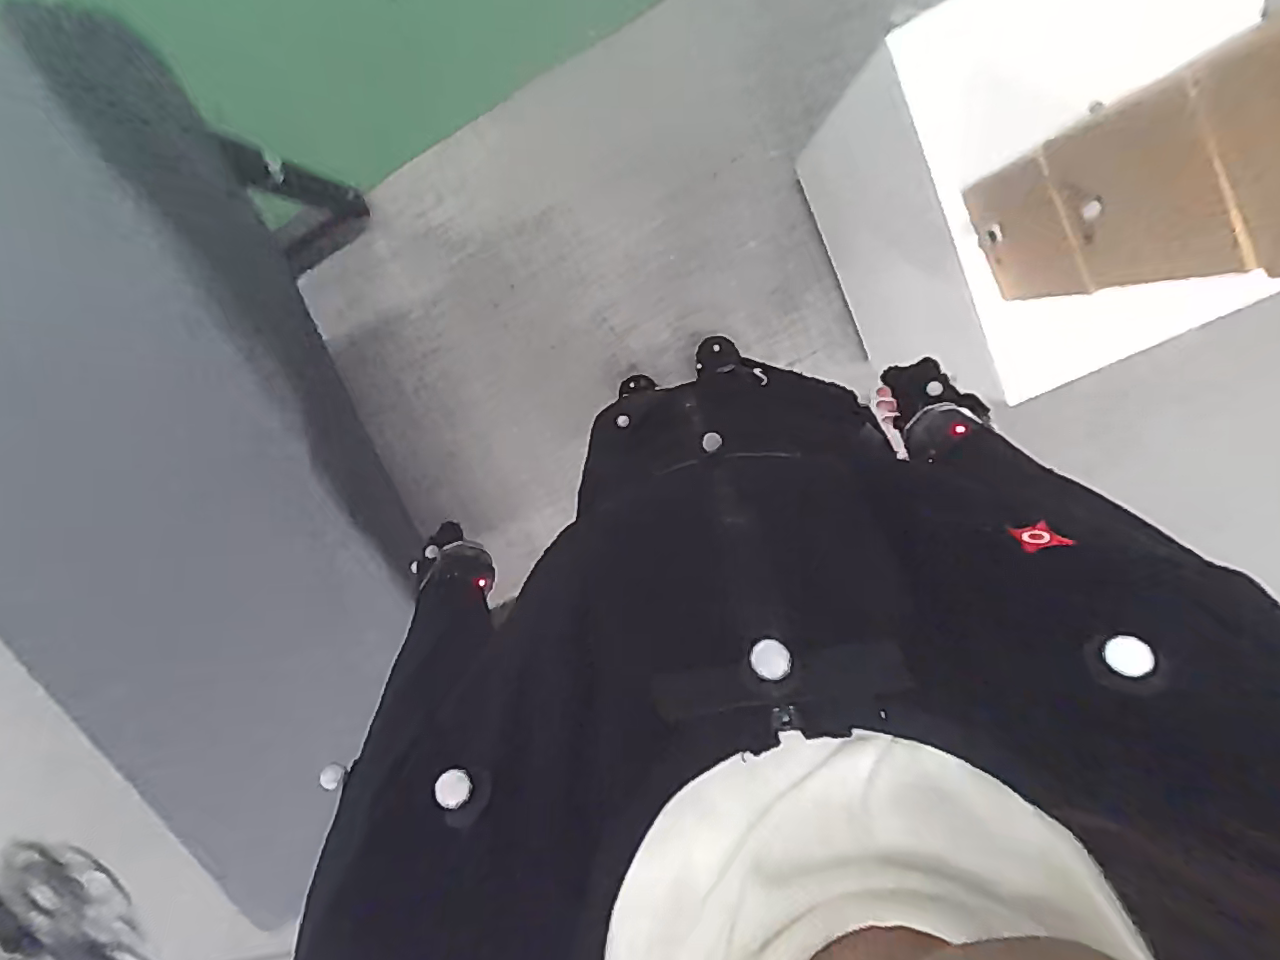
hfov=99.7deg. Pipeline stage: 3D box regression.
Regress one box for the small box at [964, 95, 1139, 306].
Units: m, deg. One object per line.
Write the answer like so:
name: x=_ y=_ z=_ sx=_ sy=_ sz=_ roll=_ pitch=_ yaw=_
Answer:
small box: x=0.522 y=-0.319 z=0.623 sx=0.179 sy=0.176 sz=0.168 roll=-29 pitch=101 yaw=13

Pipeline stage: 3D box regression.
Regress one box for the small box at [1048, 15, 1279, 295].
small box: x=0.513 y=-0.280 z=0.464 sx=0.179 sy=0.176 sz=0.168 roll=-31 pitch=101 yaw=10

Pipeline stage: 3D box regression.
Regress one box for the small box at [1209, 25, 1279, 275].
small box: x=0.500 y=-0.235 z=0.307 sx=0.168 sy=0.176 sz=0.179 roll=-30 pitch=100 yaw=12
